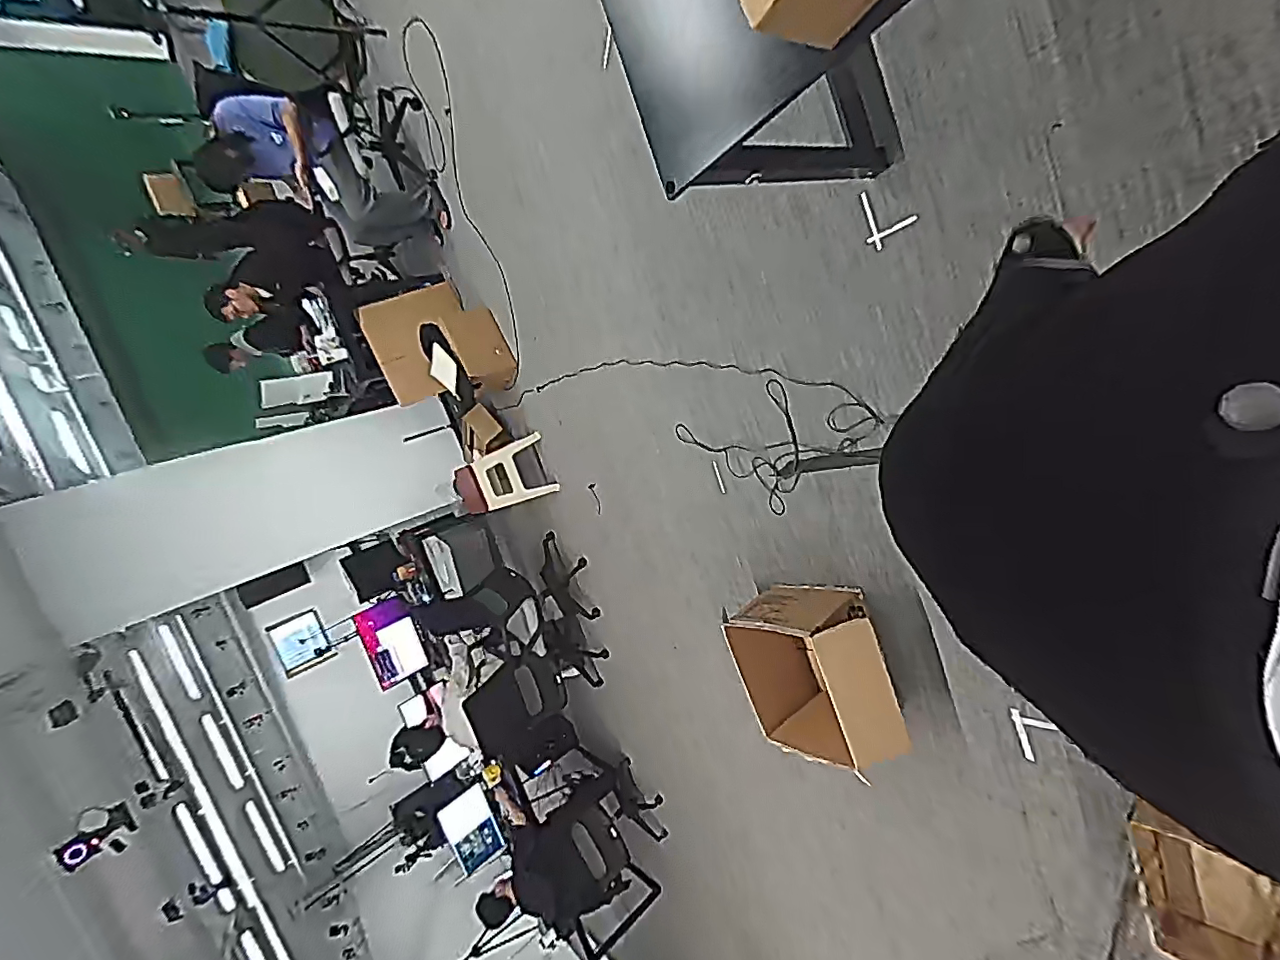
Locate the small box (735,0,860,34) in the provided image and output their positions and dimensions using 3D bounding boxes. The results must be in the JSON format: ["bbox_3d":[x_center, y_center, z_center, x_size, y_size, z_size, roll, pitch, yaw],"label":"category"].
[{"bbox_3d":[0.193,-0.637,0.592,0.168,0.176,0.179,-21,93,56],"label":"small box"}]
